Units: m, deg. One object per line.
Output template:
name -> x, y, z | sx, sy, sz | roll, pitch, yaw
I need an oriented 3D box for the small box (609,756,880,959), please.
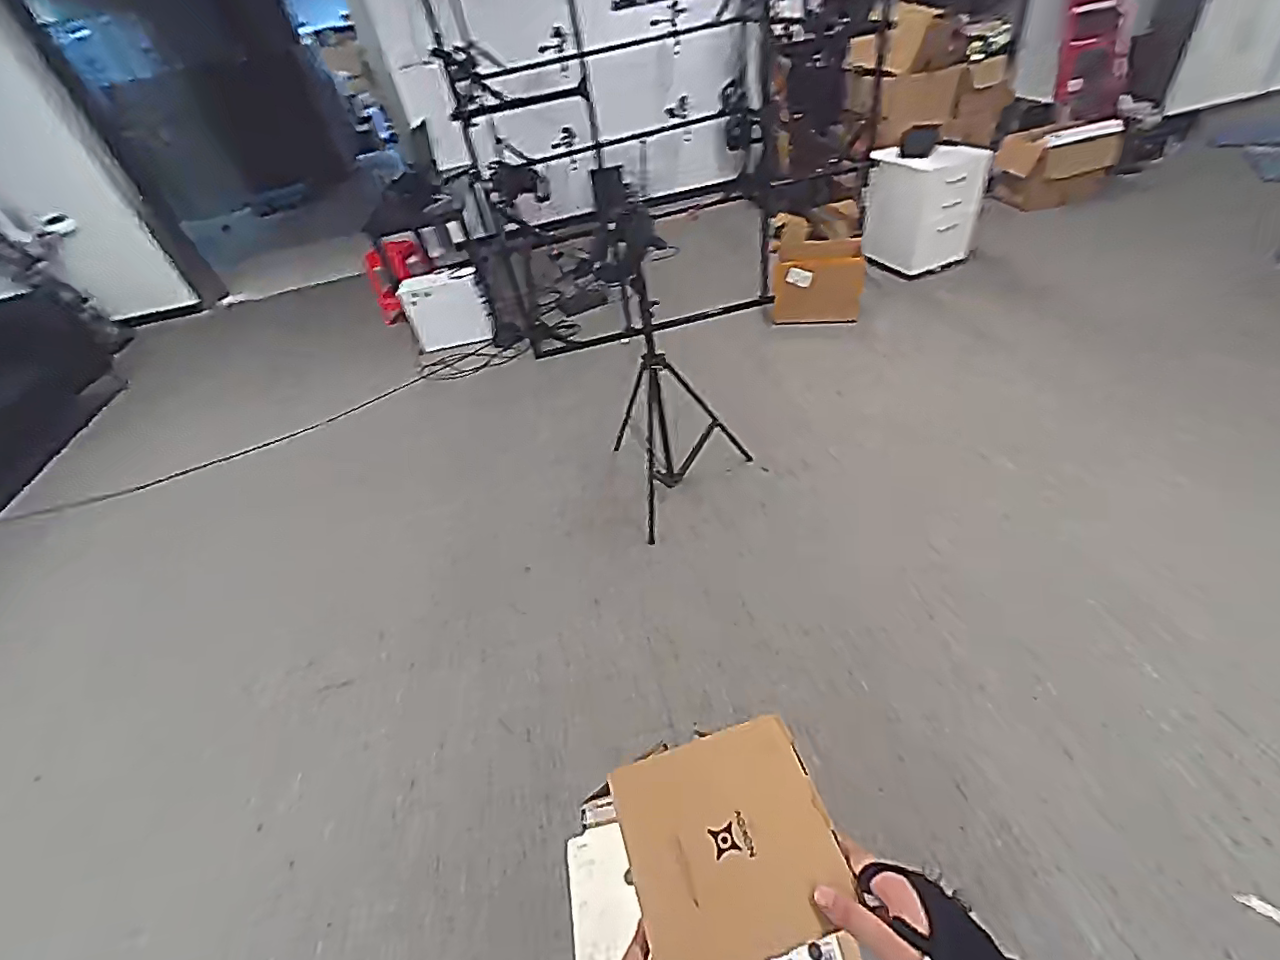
small box -> 0.085, 0.390, 0.504 | 0.179, 0.176, 0.168 | -18, 49, -8
